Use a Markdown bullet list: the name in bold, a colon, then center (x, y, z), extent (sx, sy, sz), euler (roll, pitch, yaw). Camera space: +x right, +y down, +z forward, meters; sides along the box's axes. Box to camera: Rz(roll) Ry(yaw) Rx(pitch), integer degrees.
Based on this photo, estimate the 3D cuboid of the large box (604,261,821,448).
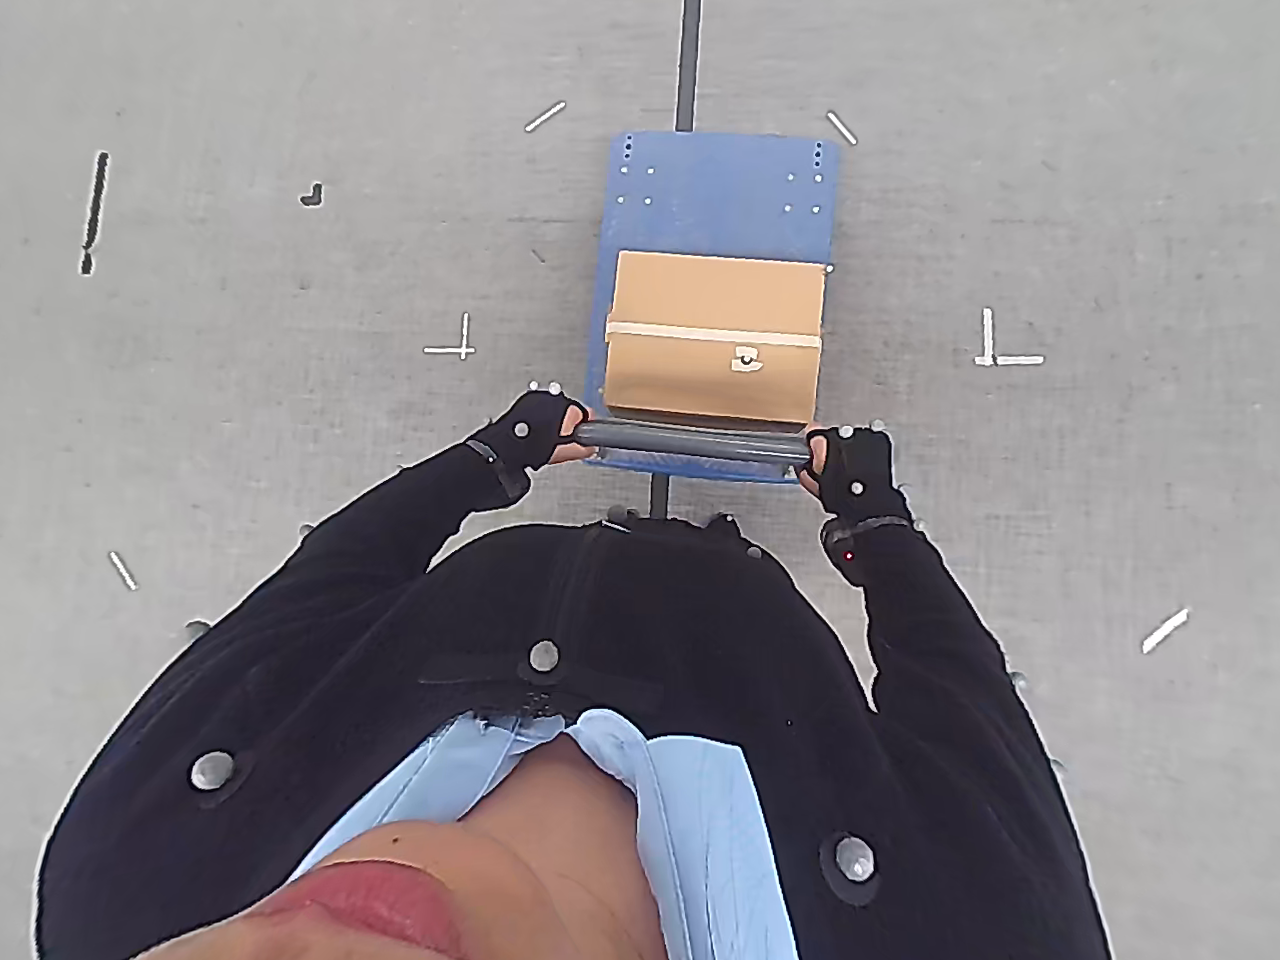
- **large box**: center (0.146, -0.255, 1.194), extent (0.408, 0.320, 0.320), euler (6, 87, 4)
